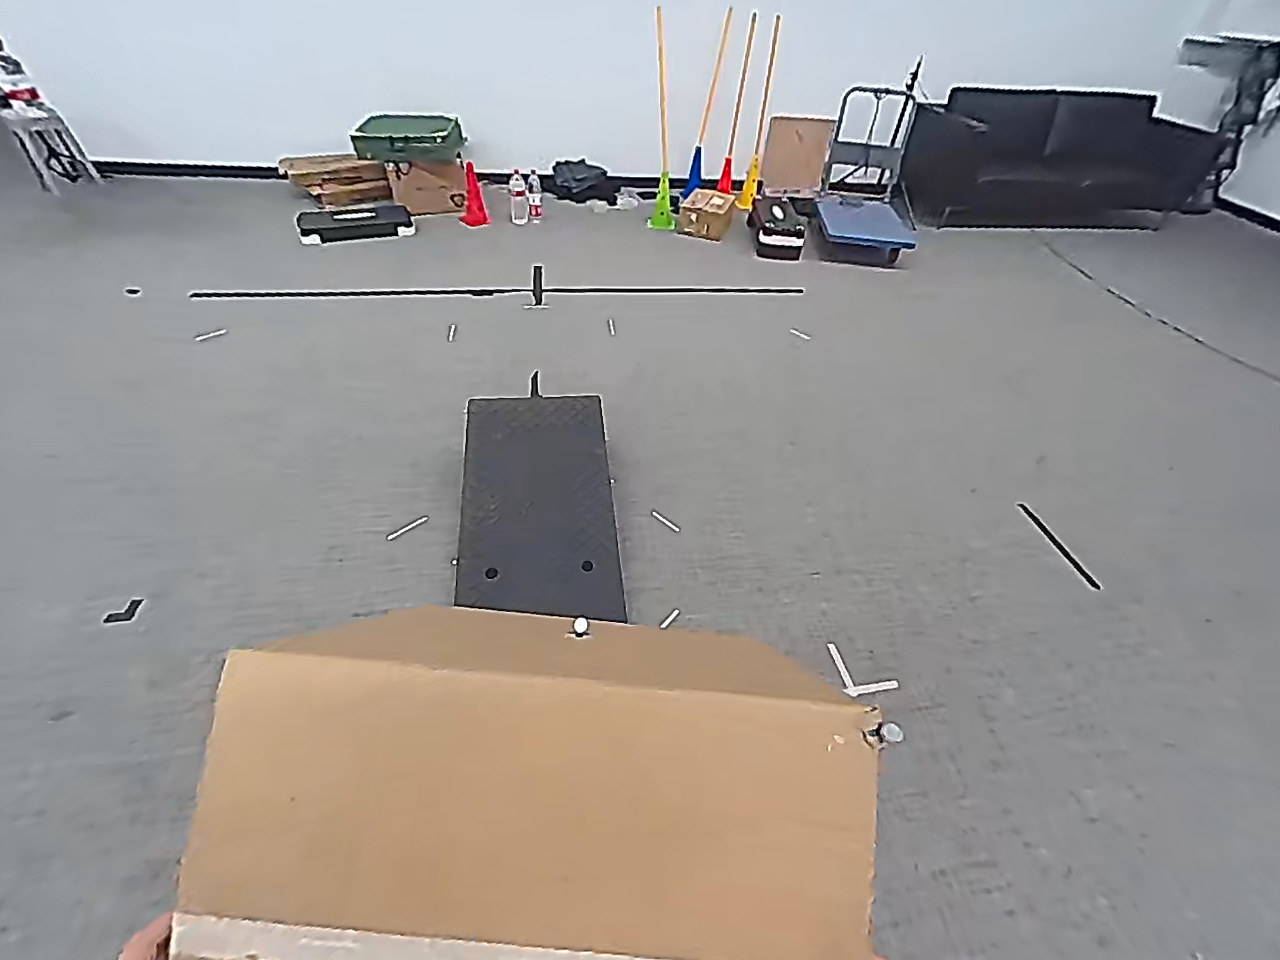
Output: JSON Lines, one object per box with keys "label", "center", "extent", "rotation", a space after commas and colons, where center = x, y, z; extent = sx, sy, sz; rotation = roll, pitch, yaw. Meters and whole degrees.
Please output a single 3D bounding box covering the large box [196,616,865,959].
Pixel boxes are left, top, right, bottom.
{"label": "large box", "center": [-0.068, 0.301, 0.473], "extent": [0.408, 0.320, 0.320], "rotation": [5, 83, -1]}
